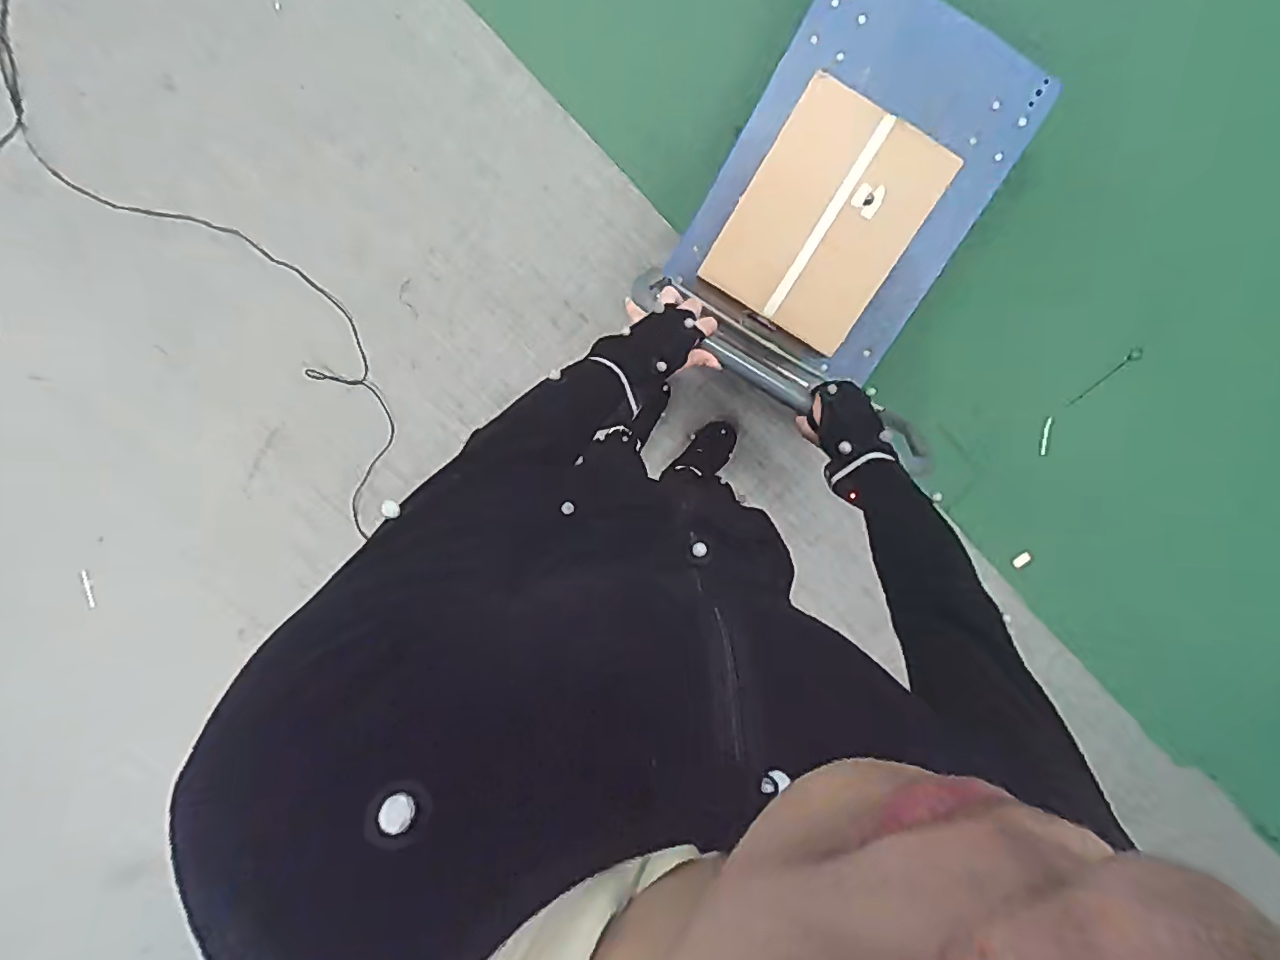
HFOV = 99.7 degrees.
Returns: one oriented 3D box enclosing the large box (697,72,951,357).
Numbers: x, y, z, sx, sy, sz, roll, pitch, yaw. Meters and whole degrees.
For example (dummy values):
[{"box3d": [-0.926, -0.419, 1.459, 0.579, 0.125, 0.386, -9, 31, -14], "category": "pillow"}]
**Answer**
[{"box3d": [0.350, -0.518, 1.157, 0.320, 0.320, 0.408, 31, 102, -2], "category": "large box"}]
